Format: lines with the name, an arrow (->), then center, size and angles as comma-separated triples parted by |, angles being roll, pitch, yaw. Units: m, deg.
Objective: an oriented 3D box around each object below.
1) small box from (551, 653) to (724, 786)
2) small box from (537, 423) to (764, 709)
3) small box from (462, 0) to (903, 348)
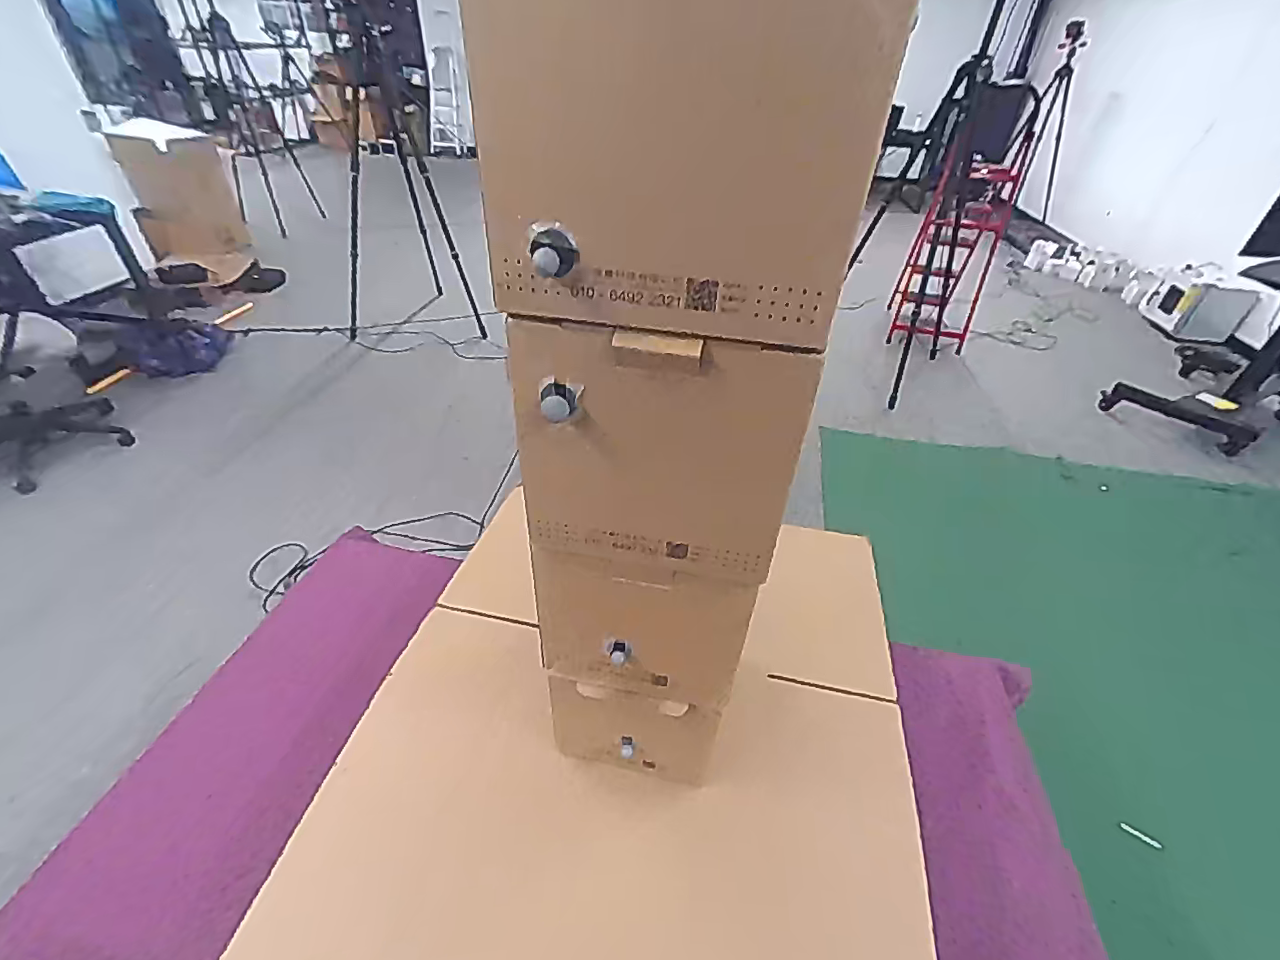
small box -> 0.010, 0.197, 0.599 | 0.168, 0.176, 0.179 | 9, 38, 9
small box -> 0.015, 0.073, 0.493 | 0.168, 0.176, 0.179 | 9, 38, 7
small box -> 0.027, -0.183, 0.285 | 0.168, 0.176, 0.179 | 9, 37, 7
